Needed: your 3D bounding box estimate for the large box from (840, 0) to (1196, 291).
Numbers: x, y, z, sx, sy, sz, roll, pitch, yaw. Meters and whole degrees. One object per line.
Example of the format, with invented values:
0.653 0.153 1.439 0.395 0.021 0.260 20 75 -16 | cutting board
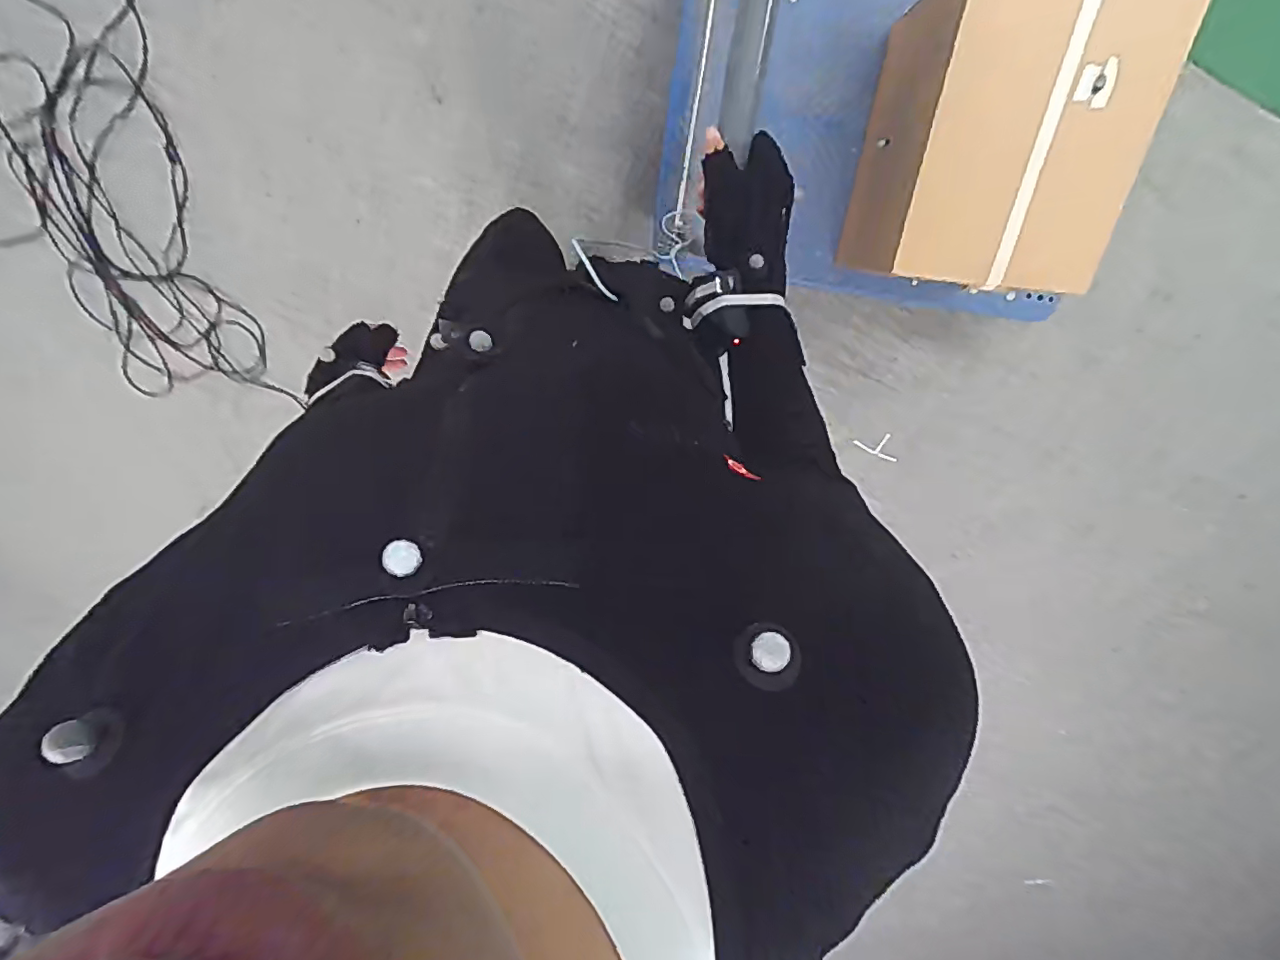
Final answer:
0.575 -0.551 0.919 0.320 0.320 0.408 6 113 -1 | large box
